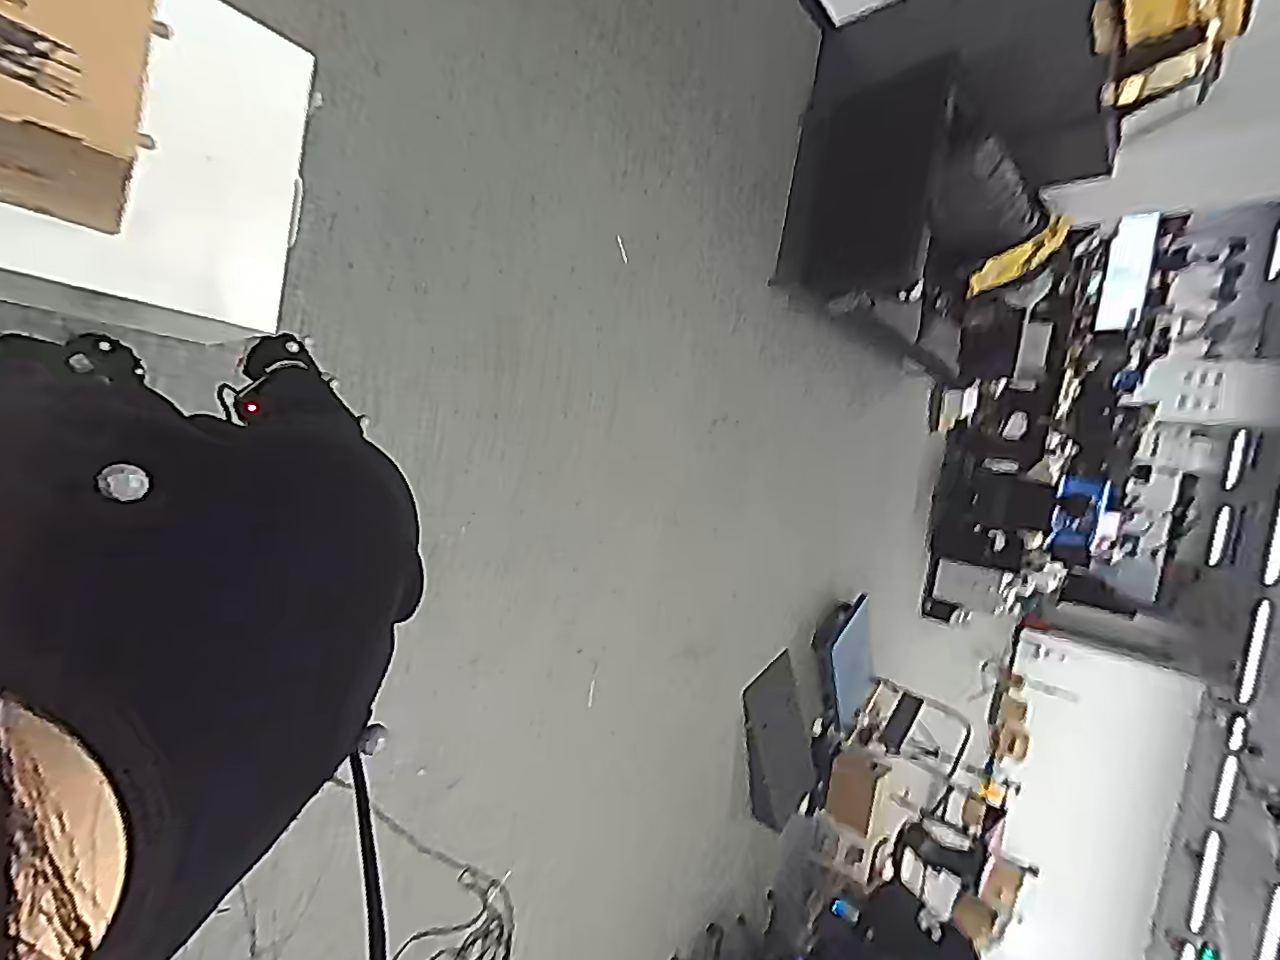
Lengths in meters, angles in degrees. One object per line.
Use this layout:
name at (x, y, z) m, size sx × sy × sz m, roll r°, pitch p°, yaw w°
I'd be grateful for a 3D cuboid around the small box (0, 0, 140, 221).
small box at (-0.606, -0.377, 0.512) m, size 0.168 × 0.176 × 0.179 m, roll 8°, pitch 92°, yaw -48°
